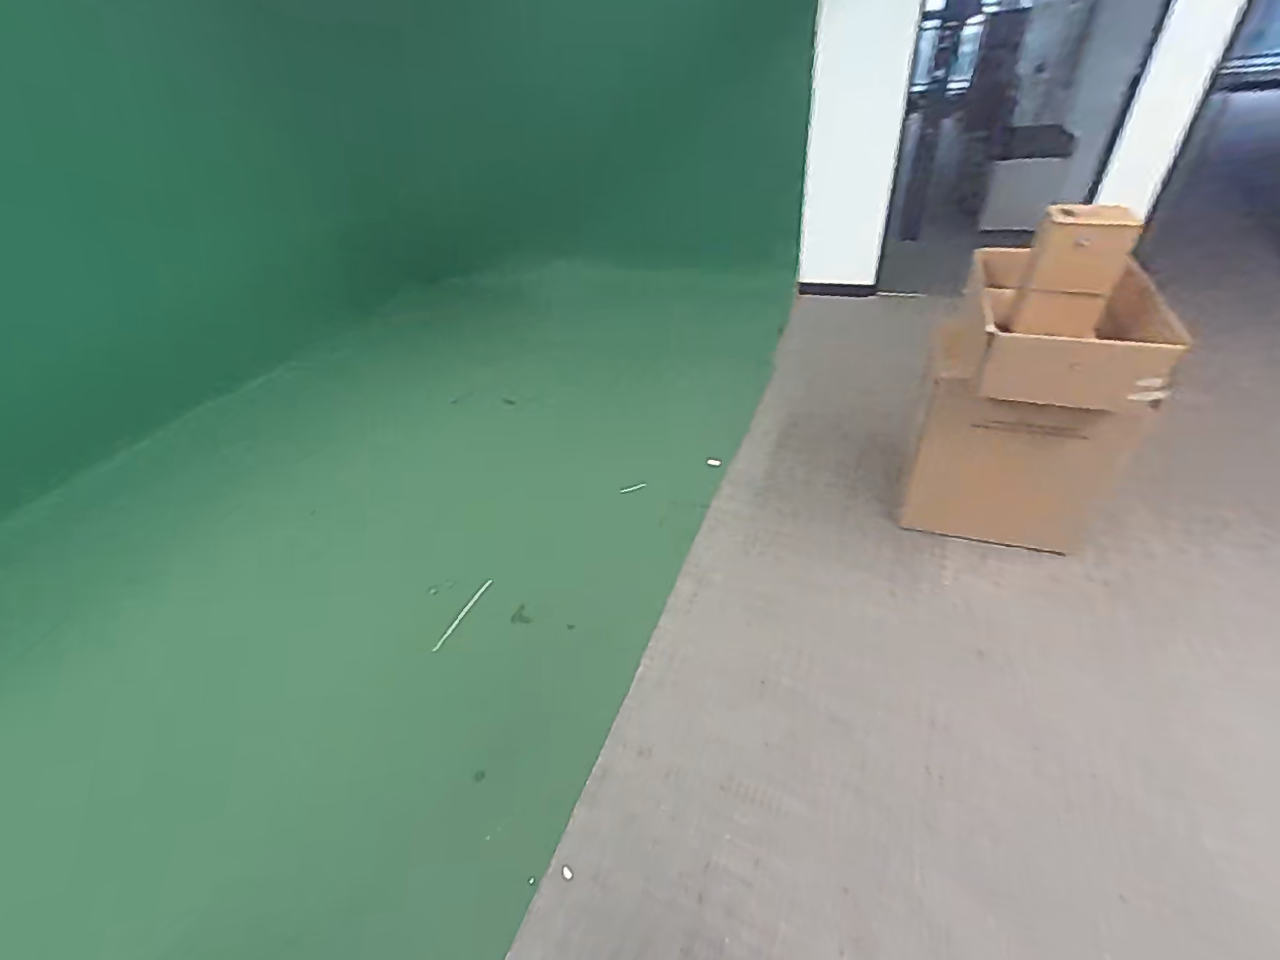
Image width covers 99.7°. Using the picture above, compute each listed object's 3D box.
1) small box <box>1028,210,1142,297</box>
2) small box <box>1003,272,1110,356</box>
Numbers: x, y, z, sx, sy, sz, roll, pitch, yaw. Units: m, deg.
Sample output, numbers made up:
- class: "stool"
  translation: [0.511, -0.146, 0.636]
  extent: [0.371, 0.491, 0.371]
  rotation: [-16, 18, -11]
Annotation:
- class: "small box"
  translation: [1.128, -0.582, 1.391]
  extent: [0.179, 0.176, 0.168]
  rotation: [13, 43, 21]
- class: "small box"
  translation: [1.142, -0.459, 1.498]
  extent: [0.179, 0.176, 0.168]
  rotation: [11, 41, 19]
